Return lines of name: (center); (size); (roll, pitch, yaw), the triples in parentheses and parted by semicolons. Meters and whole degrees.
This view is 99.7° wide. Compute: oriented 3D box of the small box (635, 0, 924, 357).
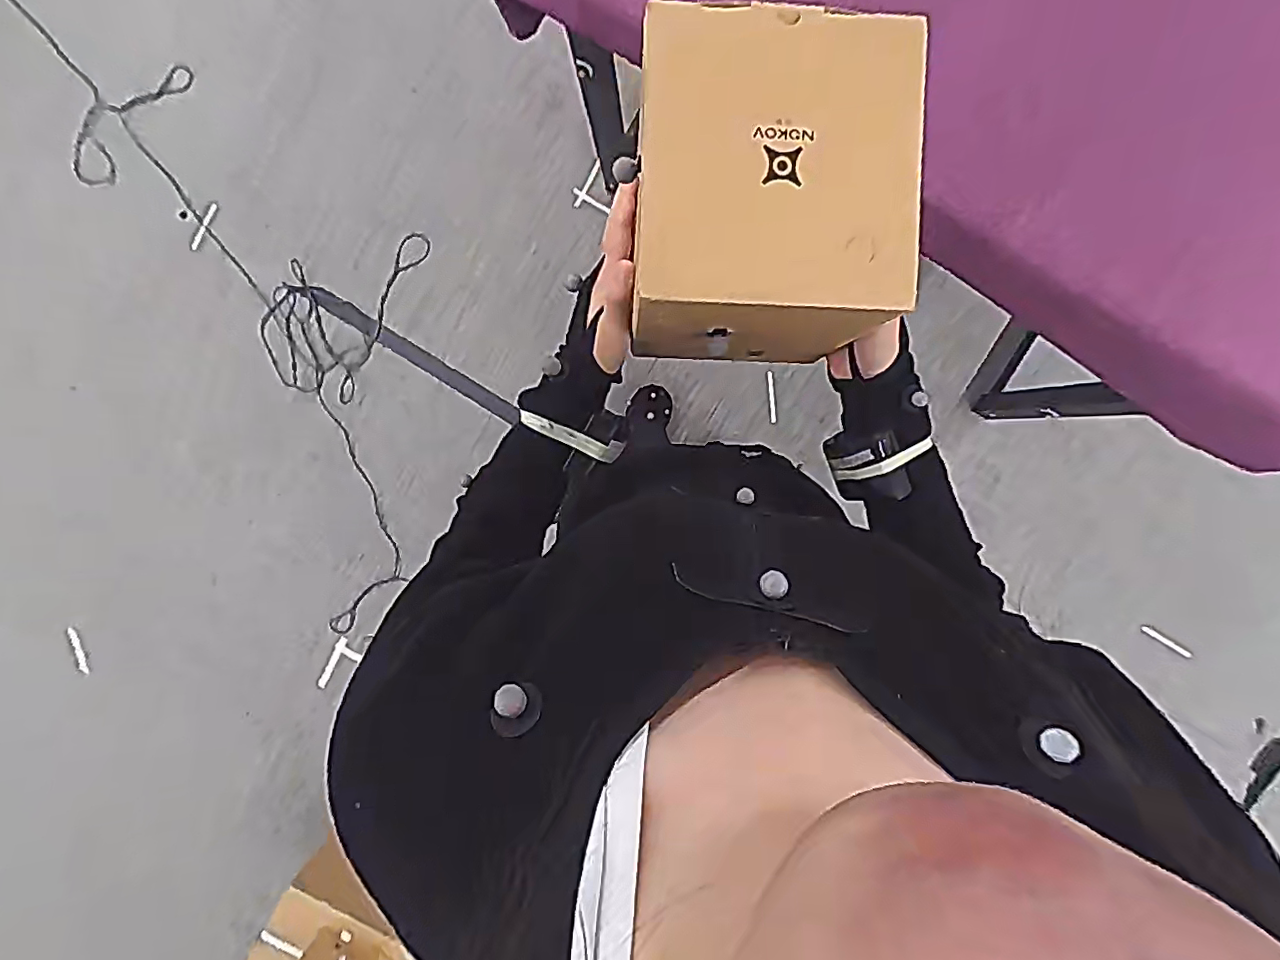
small box: (0.082, -0.194, 0.401); (0.168, 0.176, 0.179); (2, 90, -2)

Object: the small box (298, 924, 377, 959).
small box: (-0.763, 1.226, 1.283); (0.168, 0.176, 0.179); (28, 95, -1)
